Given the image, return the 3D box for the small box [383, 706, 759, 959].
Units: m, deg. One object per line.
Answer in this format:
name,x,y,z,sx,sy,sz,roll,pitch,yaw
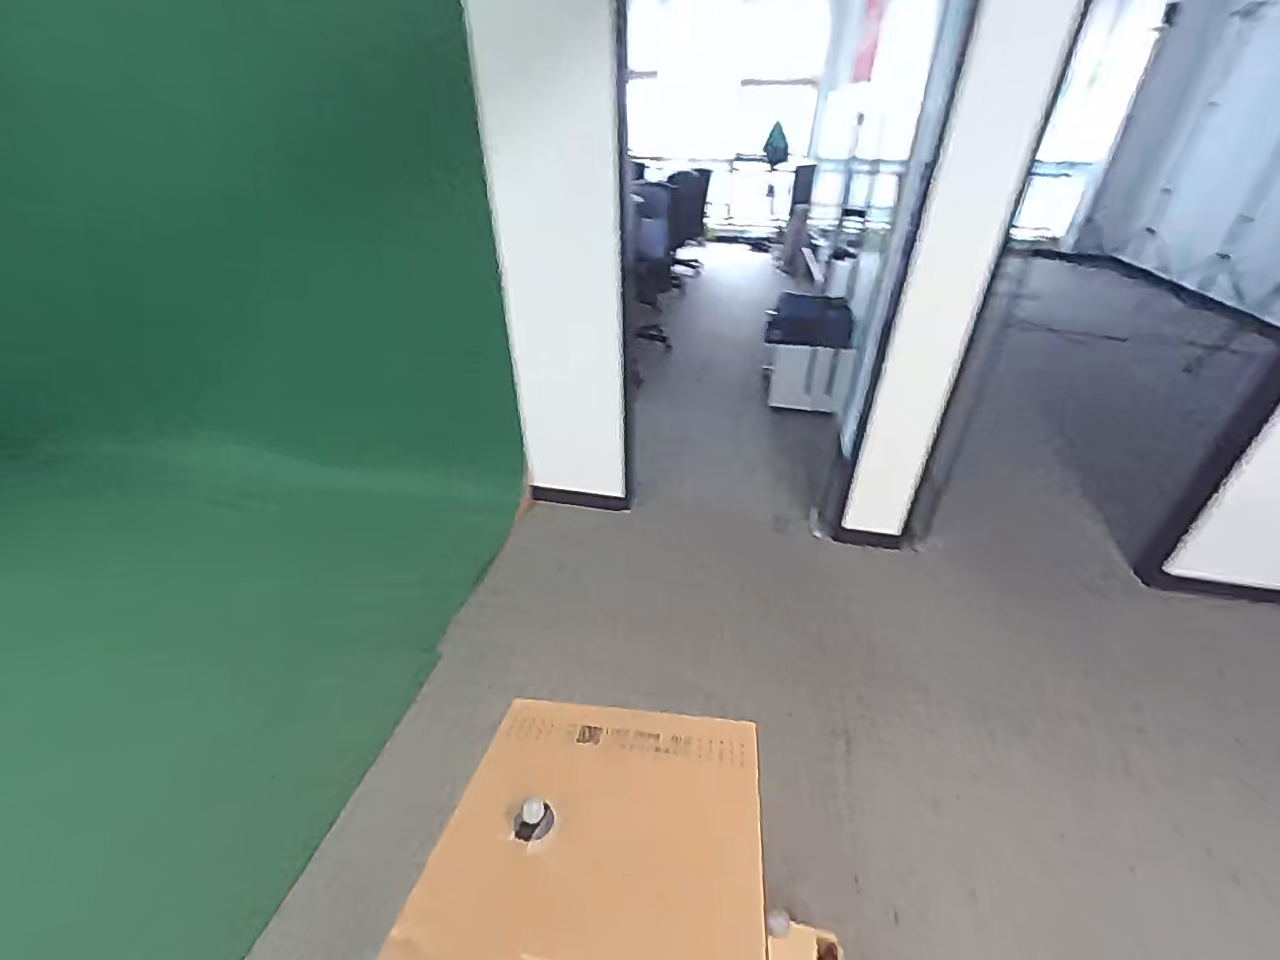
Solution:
small box,-0.022,0.261,0.314,0.168,0.179,0.176,3,21,9
